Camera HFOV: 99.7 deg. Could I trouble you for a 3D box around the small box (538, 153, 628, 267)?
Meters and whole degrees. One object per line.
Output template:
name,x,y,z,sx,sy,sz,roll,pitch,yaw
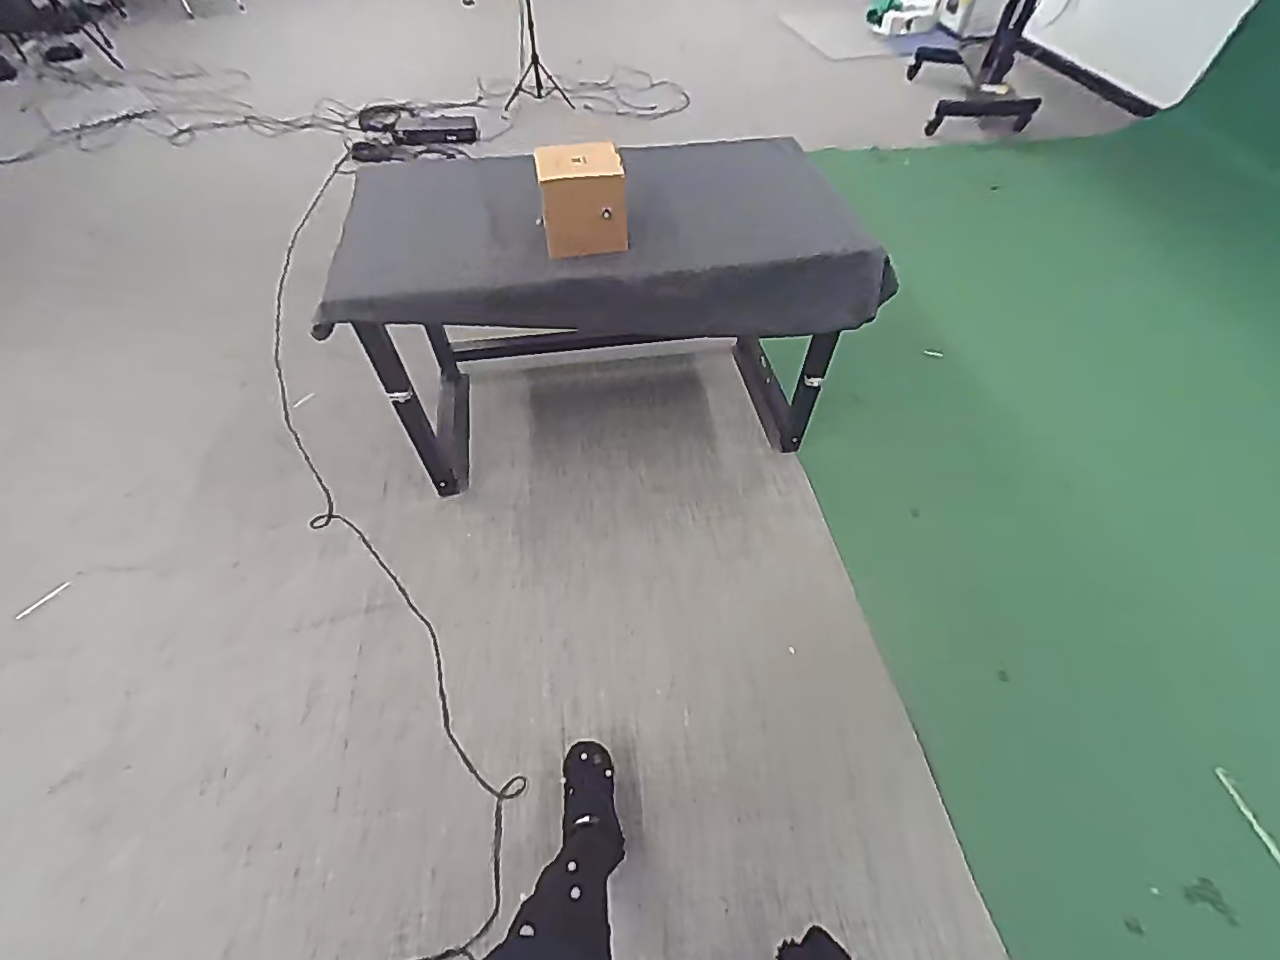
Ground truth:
small box,-0.123,-0.595,1.197,0.179,0.176,0.168,-10,52,-6
